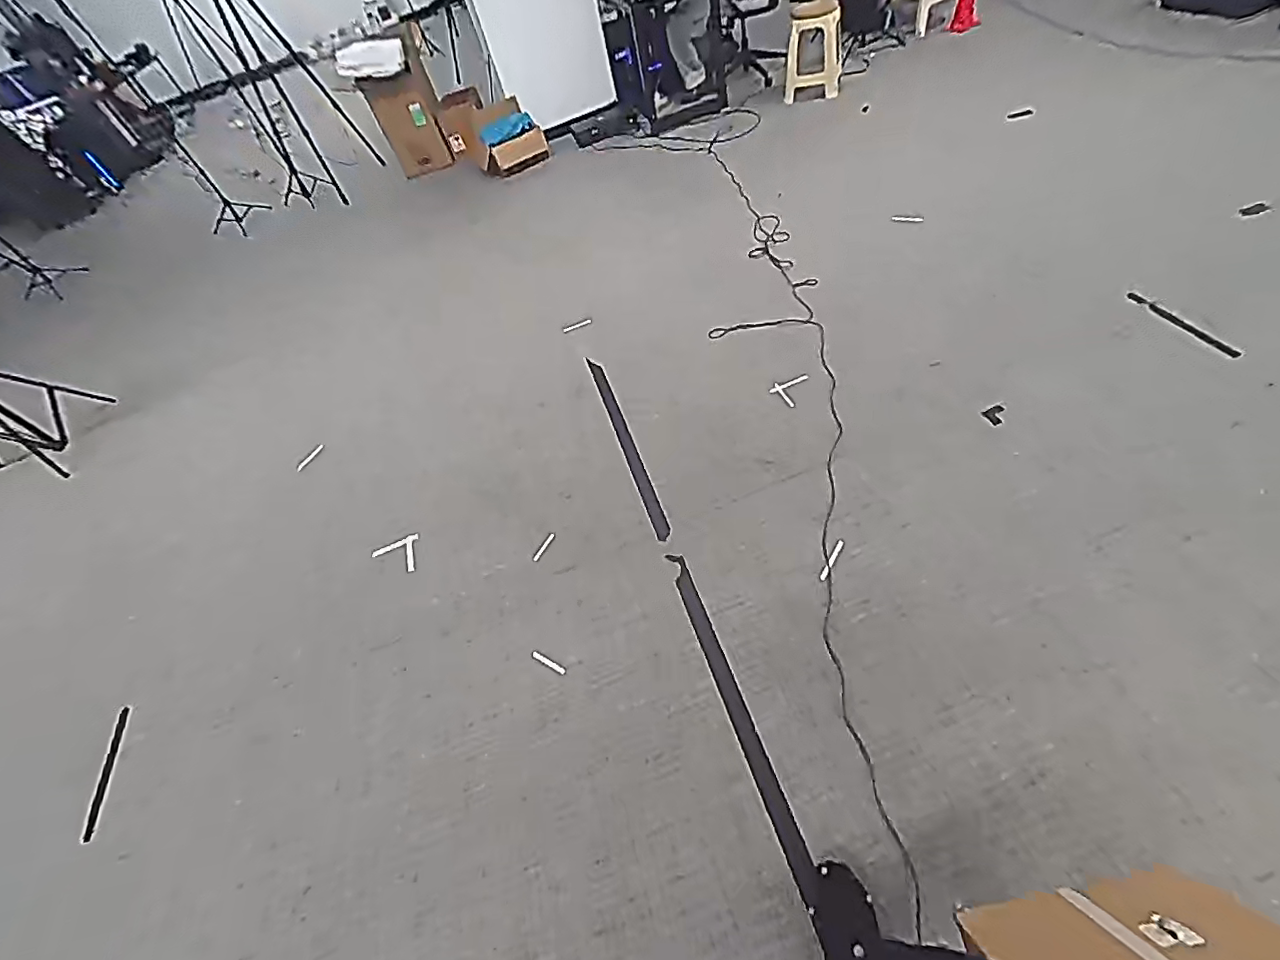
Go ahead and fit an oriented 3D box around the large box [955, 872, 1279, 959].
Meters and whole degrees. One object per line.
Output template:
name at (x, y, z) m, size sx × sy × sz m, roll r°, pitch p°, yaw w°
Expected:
large box at (0.619, 0.686, 0.550) m, size 0.320 × 0.408 × 0.320 m, roll -13°, pitch 73°, yaw 3°
